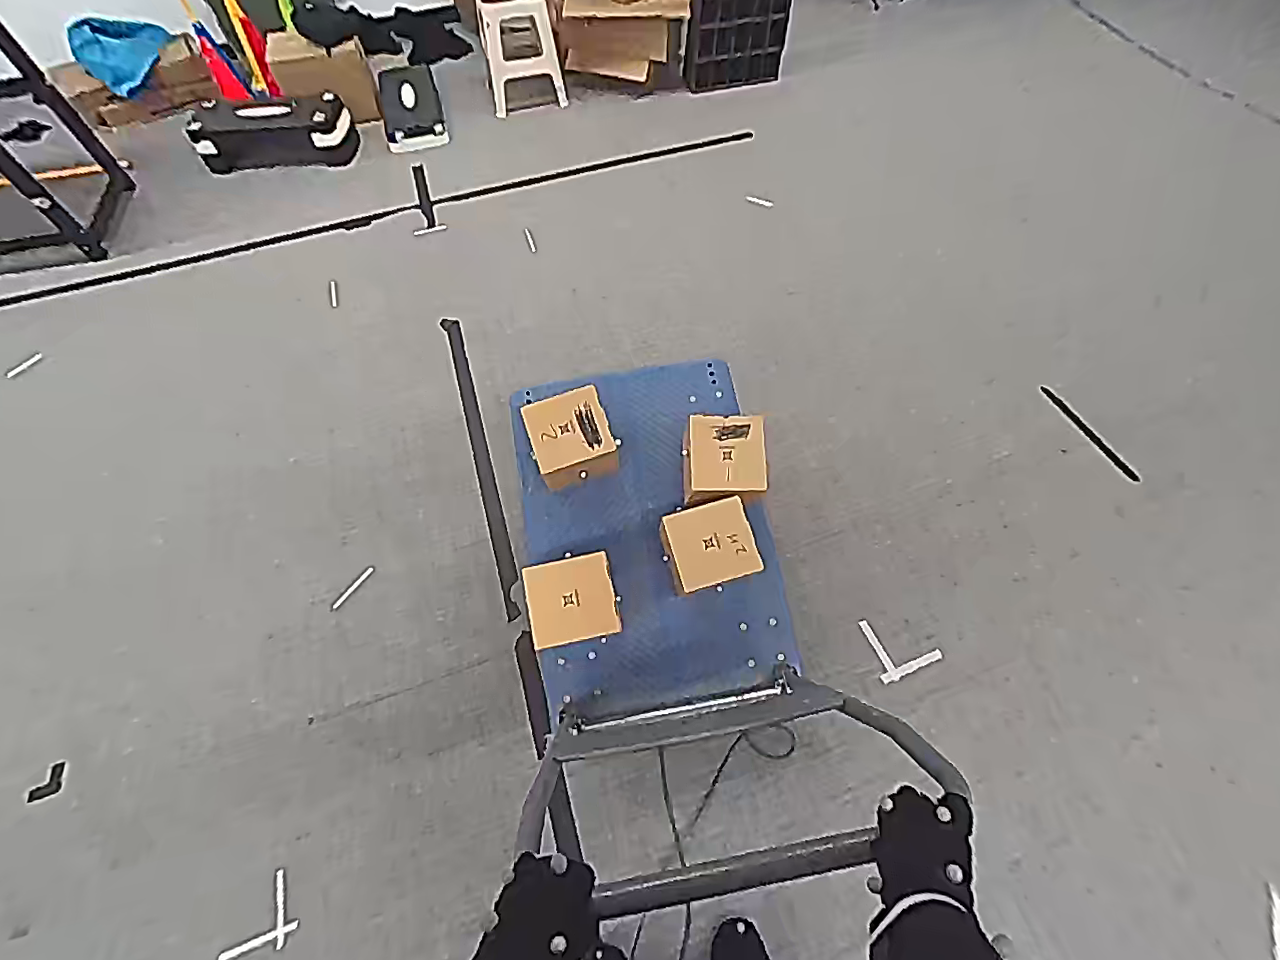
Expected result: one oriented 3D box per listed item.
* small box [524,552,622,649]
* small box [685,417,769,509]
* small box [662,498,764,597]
[{"bbox_3d":[-0.139,0.265,1.167,0.179,0.176,0.168,-12,75,-5],"label":"small box"},{"bbox_3d":[0.194,-0.035,1.254,0.168,0.176,0.179,0,75,0],"label":"small box"},{"bbox_3d":[0.152,0.156,1.200,0.179,0.176,0.168,-15,75,-5],"label":"small box"}]
